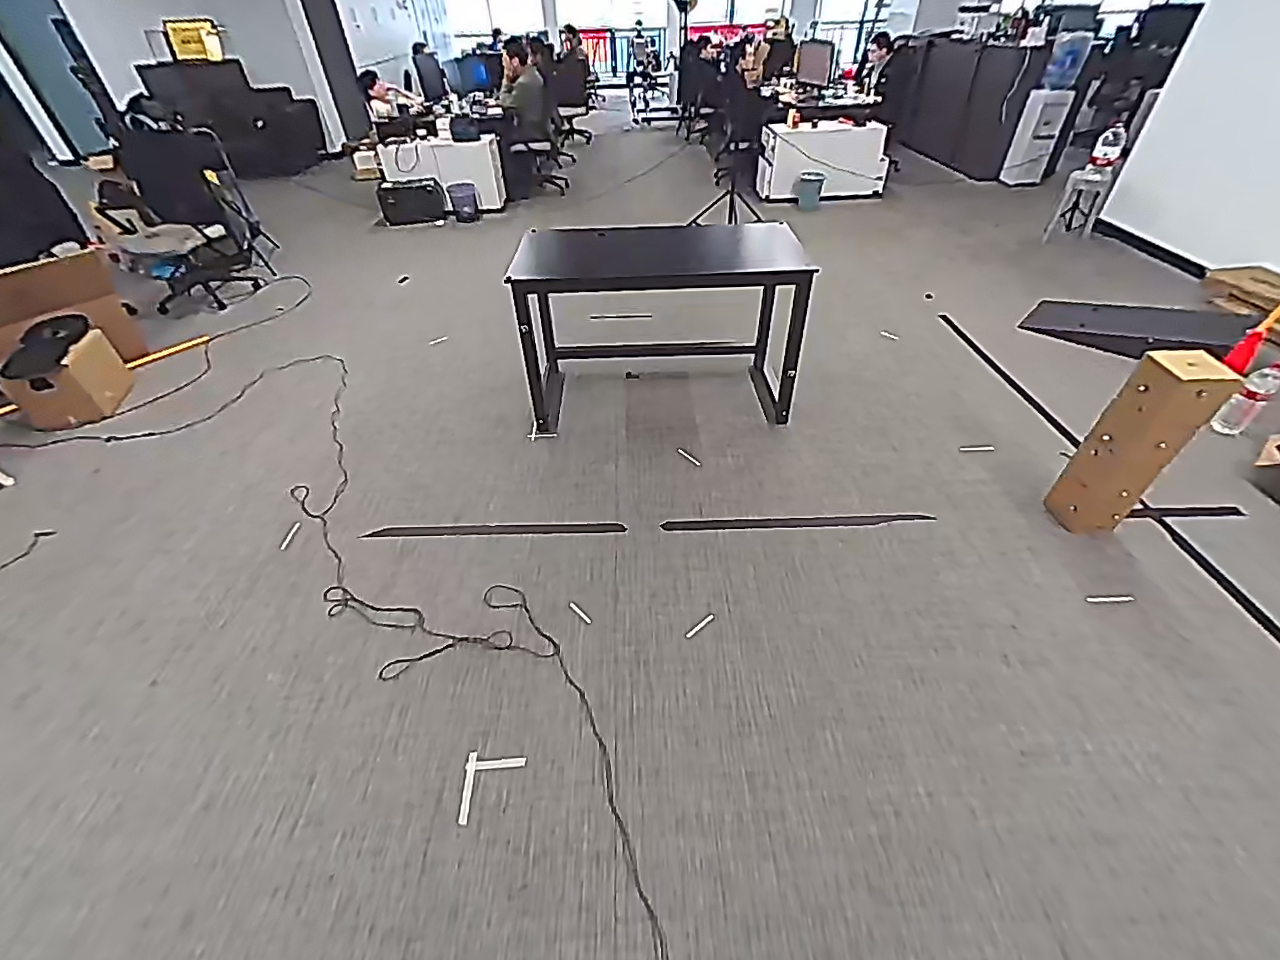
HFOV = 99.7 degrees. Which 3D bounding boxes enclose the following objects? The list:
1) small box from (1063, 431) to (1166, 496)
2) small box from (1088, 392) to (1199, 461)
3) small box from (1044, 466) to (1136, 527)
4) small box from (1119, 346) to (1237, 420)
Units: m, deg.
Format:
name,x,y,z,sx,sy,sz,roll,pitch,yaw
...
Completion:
name,x,y,z,sx,sy,sz,roll,pitch,yaw
small box,1.655,-0.059,1.899,0.179,0.176,0.168,-3,42,-2
small box,1.649,-0.178,1.786,0.179,0.176,0.168,-4,42,-1
small box,1.663,0.063,2.009,0.168,0.176,0.179,-3,40,0
small box,1.645,-0.298,1.673,0.179,0.176,0.168,-1,42,2
